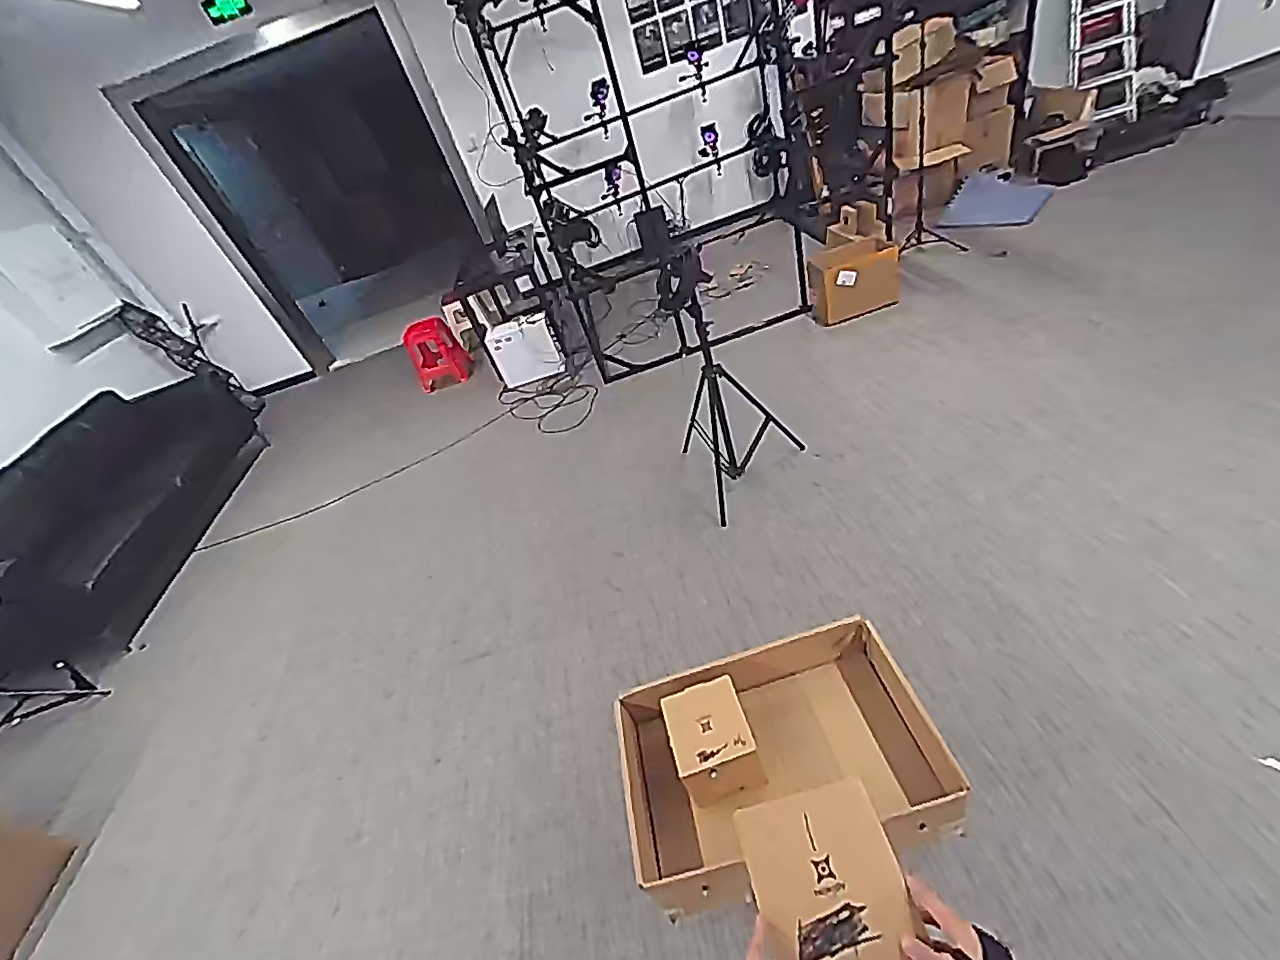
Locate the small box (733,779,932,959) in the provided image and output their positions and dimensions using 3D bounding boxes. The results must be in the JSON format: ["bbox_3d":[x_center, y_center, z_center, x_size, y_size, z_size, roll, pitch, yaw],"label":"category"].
[{"bbox_3d":[0.226,0.503,0.668,0.168,0.176,0.179,-17,45,2],"label":"small box"}]

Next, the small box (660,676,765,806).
[{"bbox_3d":[0.158,0.570,1.184,0.168,0.176,0.179,-21,37,1],"label":"small box"}]
